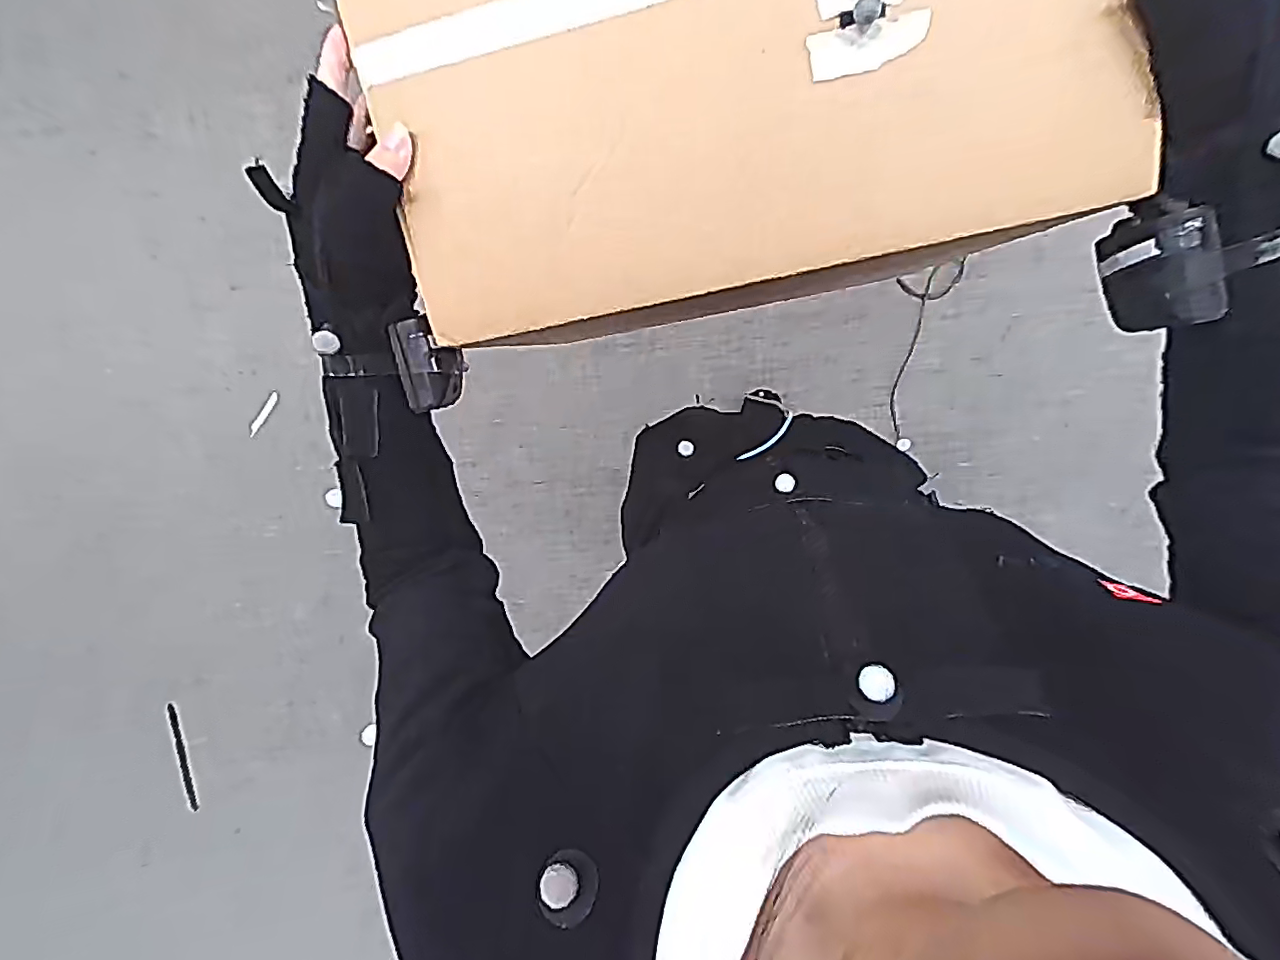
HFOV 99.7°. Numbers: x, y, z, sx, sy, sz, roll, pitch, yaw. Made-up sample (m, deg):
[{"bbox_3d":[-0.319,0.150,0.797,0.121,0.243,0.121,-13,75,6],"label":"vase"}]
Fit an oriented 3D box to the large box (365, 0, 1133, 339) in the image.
[{"bbox_3d":[0.055,-0.310,0.432,0.408,0.320,0.320,-10,104,8],"label":"large box"}]
